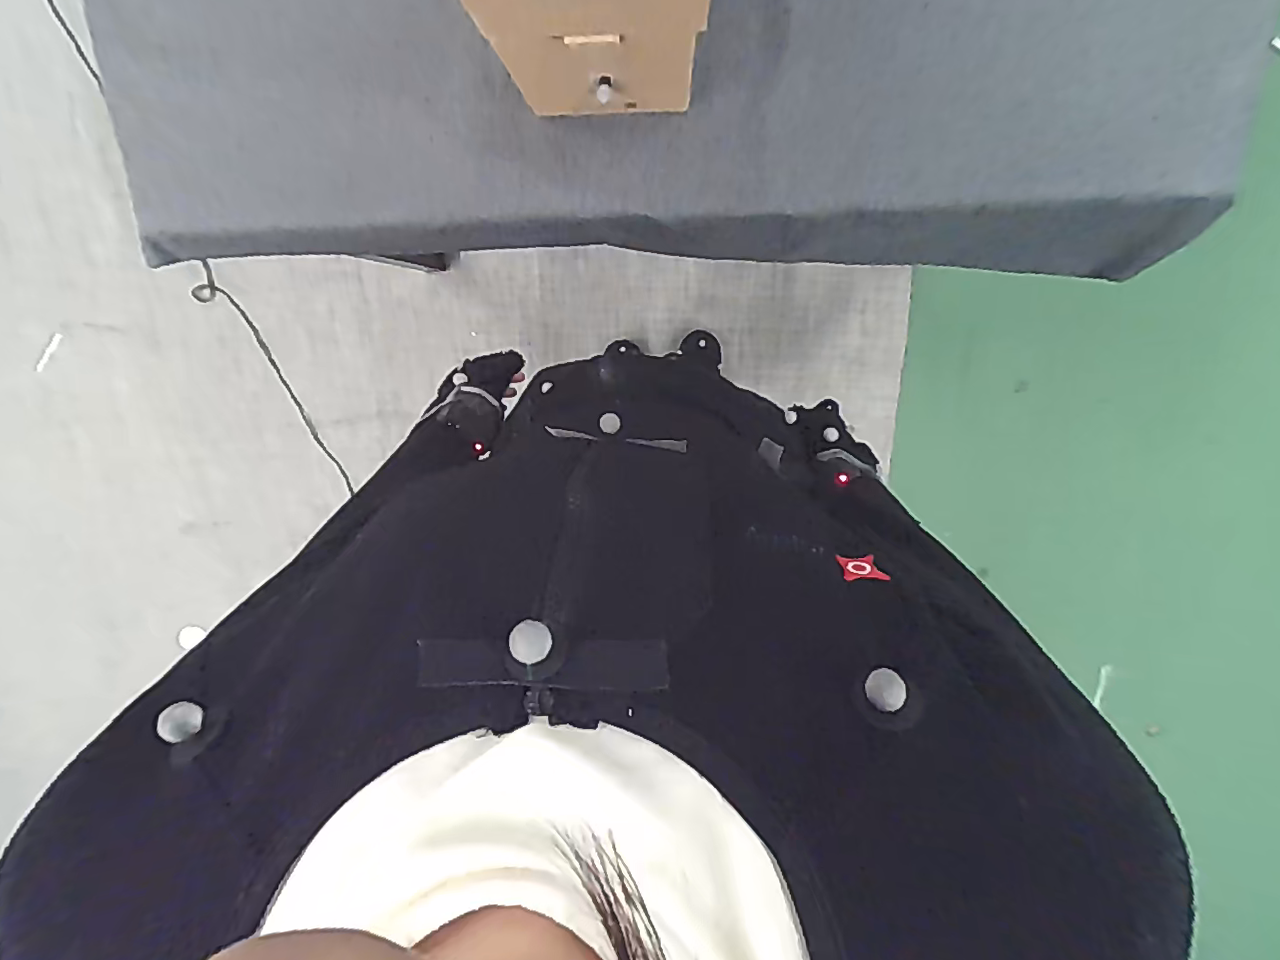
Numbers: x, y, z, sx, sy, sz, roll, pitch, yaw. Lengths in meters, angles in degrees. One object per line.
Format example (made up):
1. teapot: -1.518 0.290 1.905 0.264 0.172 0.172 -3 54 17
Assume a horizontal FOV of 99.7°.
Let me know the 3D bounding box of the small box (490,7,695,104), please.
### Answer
1. small box: -0.034 -0.456 0.476 0.168 0.176 0.179 0 107 4

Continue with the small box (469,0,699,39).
1. small box: -0.038 -0.402 0.321 0.179 0.176 0.168 -2 106 3
